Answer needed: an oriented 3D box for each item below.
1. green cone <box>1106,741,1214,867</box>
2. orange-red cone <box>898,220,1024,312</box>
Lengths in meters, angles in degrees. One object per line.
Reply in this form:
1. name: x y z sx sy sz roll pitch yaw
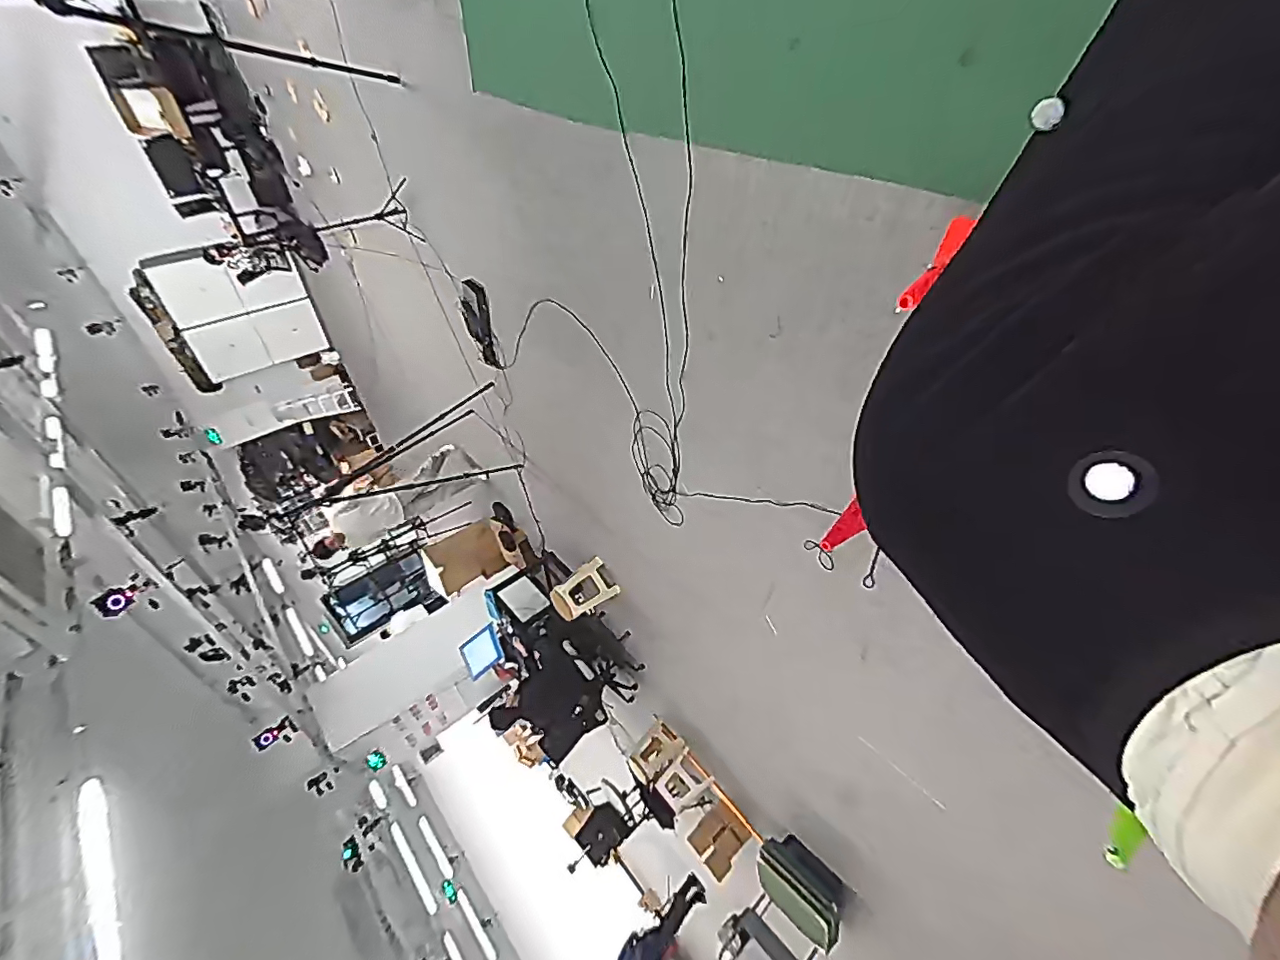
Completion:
1. green cone: 1.528 1.020 1.641 0.200 0.368 0.202 40 145 29
2. orange-red cone: 0.765 -0.502 1.375 0.199 0.360 0.198 43 146 29
